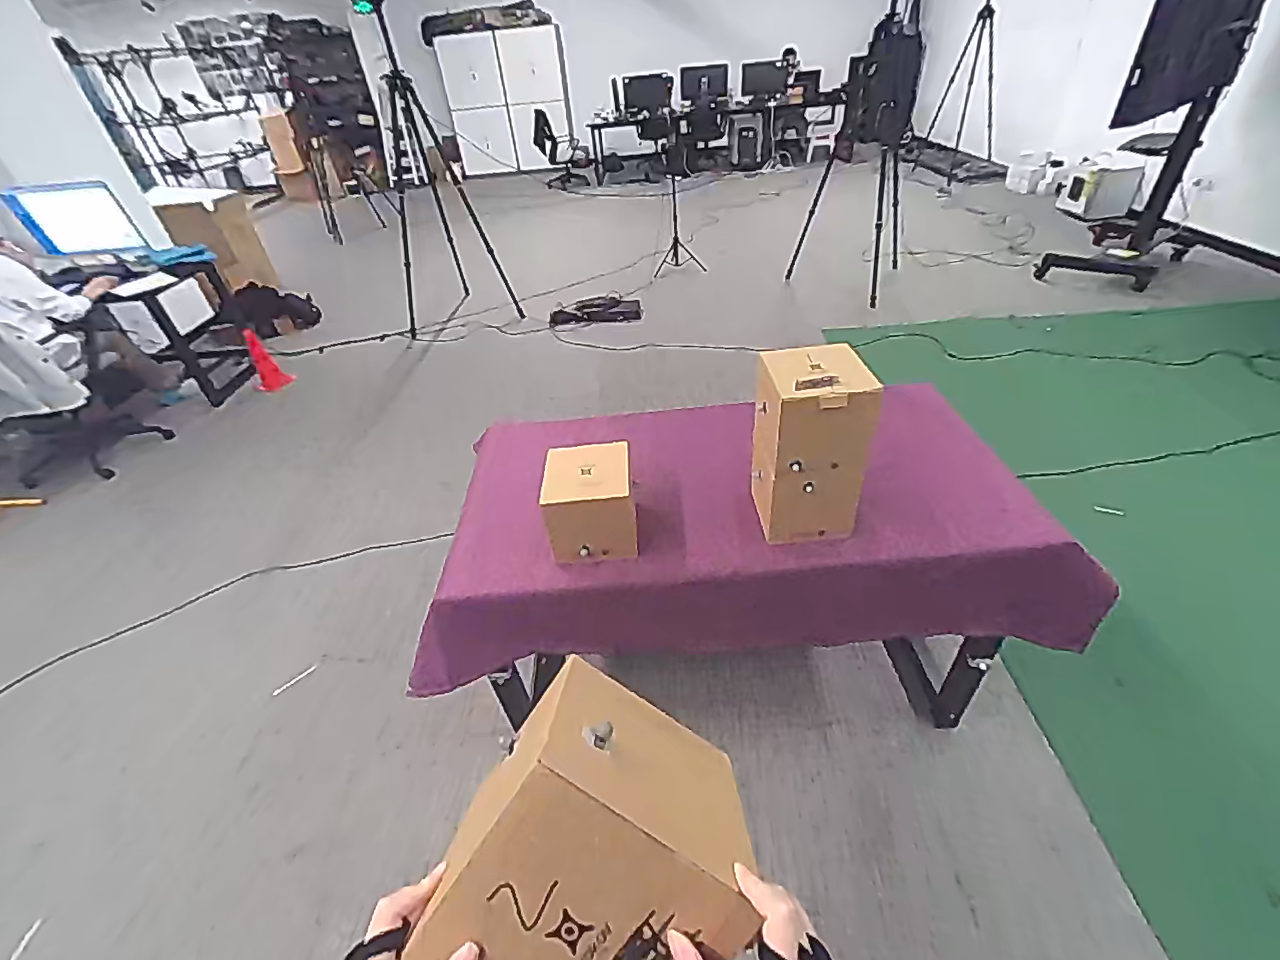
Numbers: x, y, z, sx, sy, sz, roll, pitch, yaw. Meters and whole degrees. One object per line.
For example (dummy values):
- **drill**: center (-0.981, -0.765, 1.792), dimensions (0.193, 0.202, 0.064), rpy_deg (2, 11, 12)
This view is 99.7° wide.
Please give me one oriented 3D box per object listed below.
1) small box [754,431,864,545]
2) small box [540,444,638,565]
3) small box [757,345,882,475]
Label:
- **small box**: center (0.324, 0.007, 1.077), dimensions (0.168, 0.176, 0.179), rpy_deg (-6, 38, 3)
- **small box**: center (-0.094, 0.049, 1.086), dimensions (0.168, 0.176, 0.179), rpy_deg (-5, 39, 3)
- **small box**: center (0.310, -0.121, 0.974), dimensions (0.168, 0.176, 0.179), rpy_deg (-6, 38, 1)
